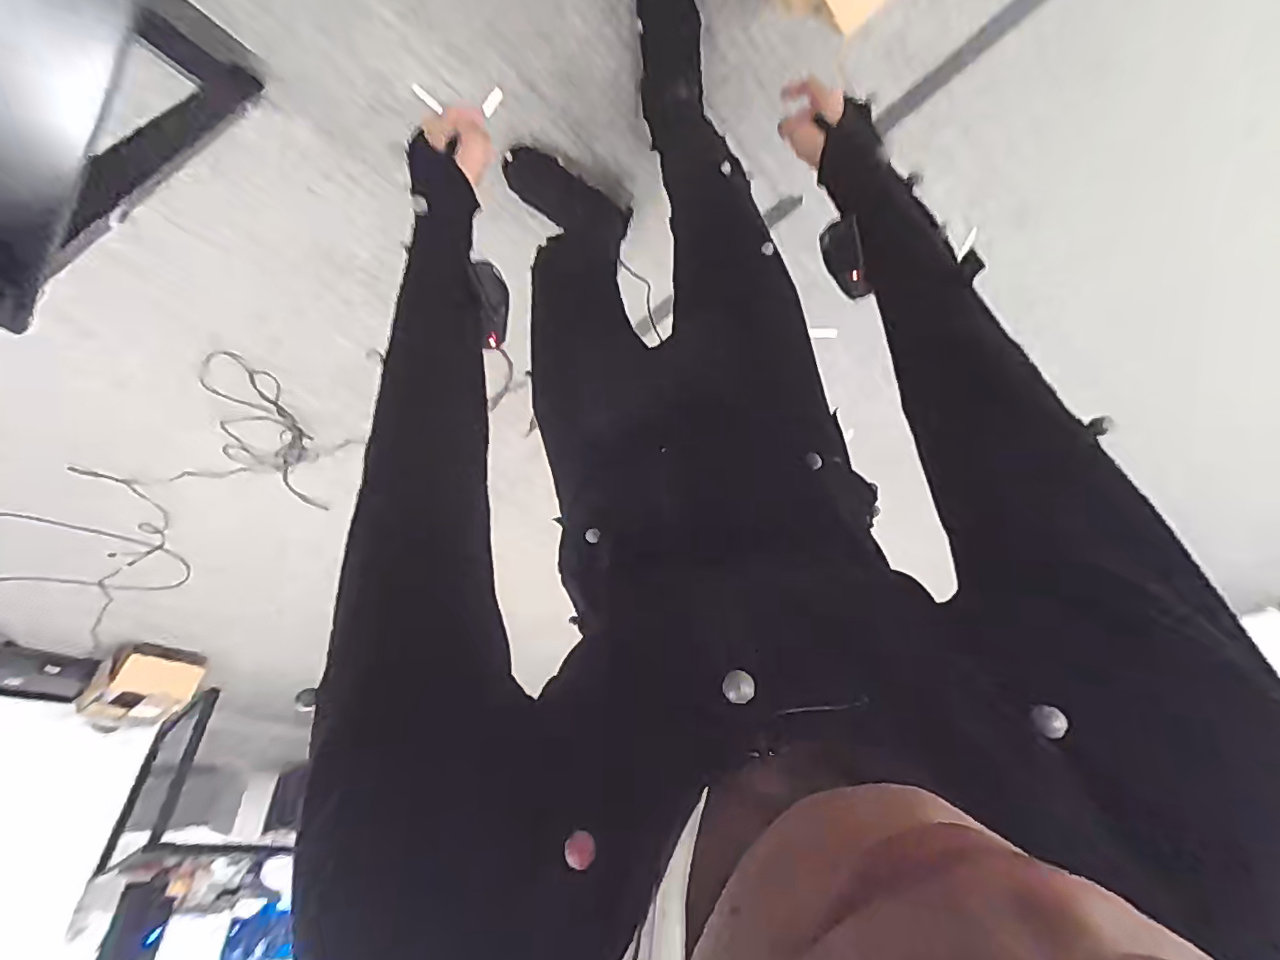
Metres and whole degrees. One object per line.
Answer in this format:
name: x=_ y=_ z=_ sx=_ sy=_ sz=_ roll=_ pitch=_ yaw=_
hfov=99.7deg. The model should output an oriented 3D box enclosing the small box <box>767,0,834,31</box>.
small box: x=0.271 y=-0.891 z=0.874 sx=0.179 sy=0.176 sz=0.168 roll=-36 pitch=131 yaw=29
